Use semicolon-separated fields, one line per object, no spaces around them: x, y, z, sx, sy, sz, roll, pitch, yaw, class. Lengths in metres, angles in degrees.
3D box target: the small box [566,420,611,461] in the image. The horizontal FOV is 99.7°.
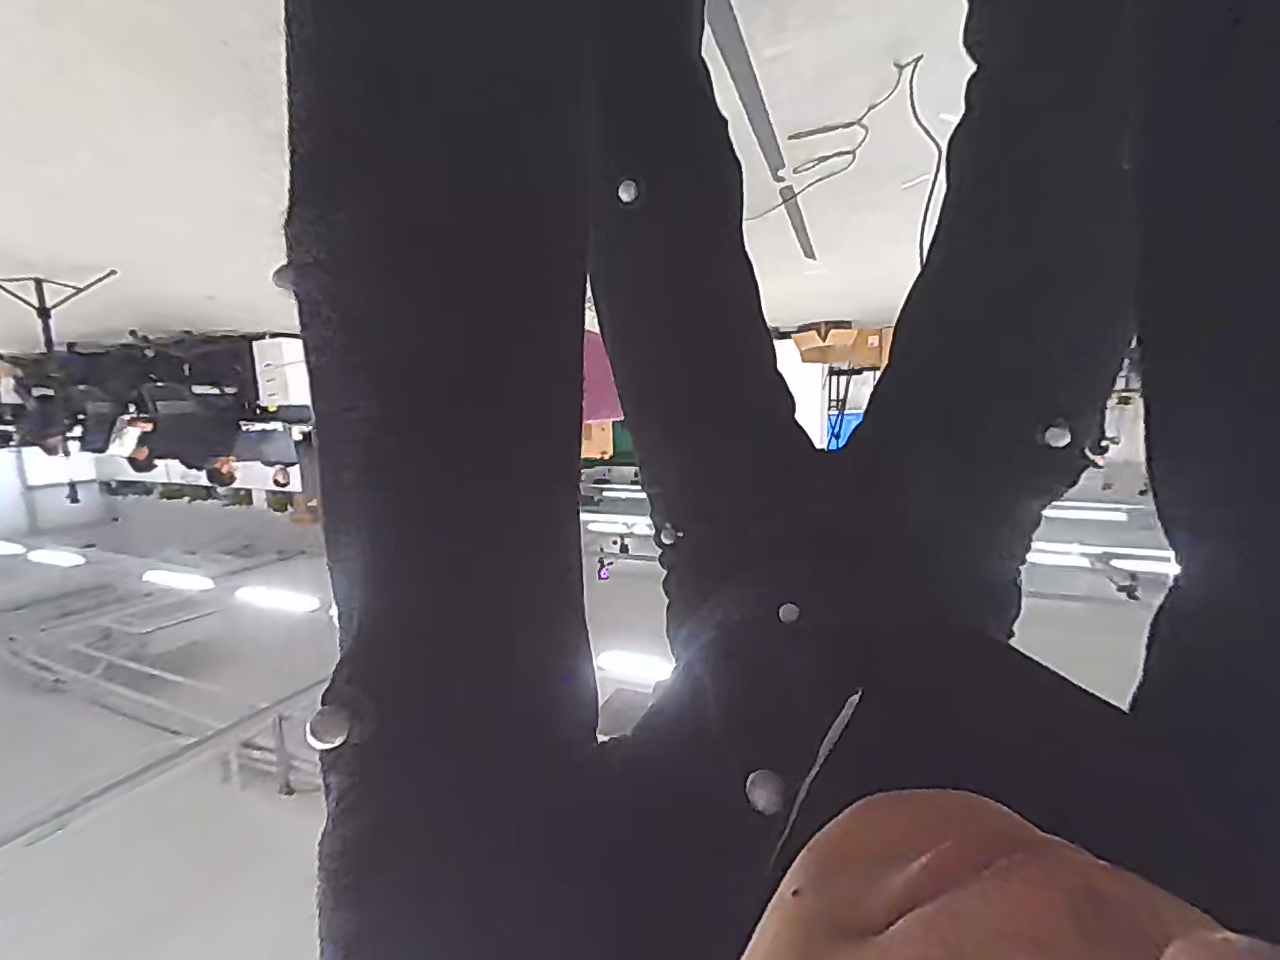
-0.241;-0.177;2.354;0.179;0.176;0.168;2;-171;27;small box
